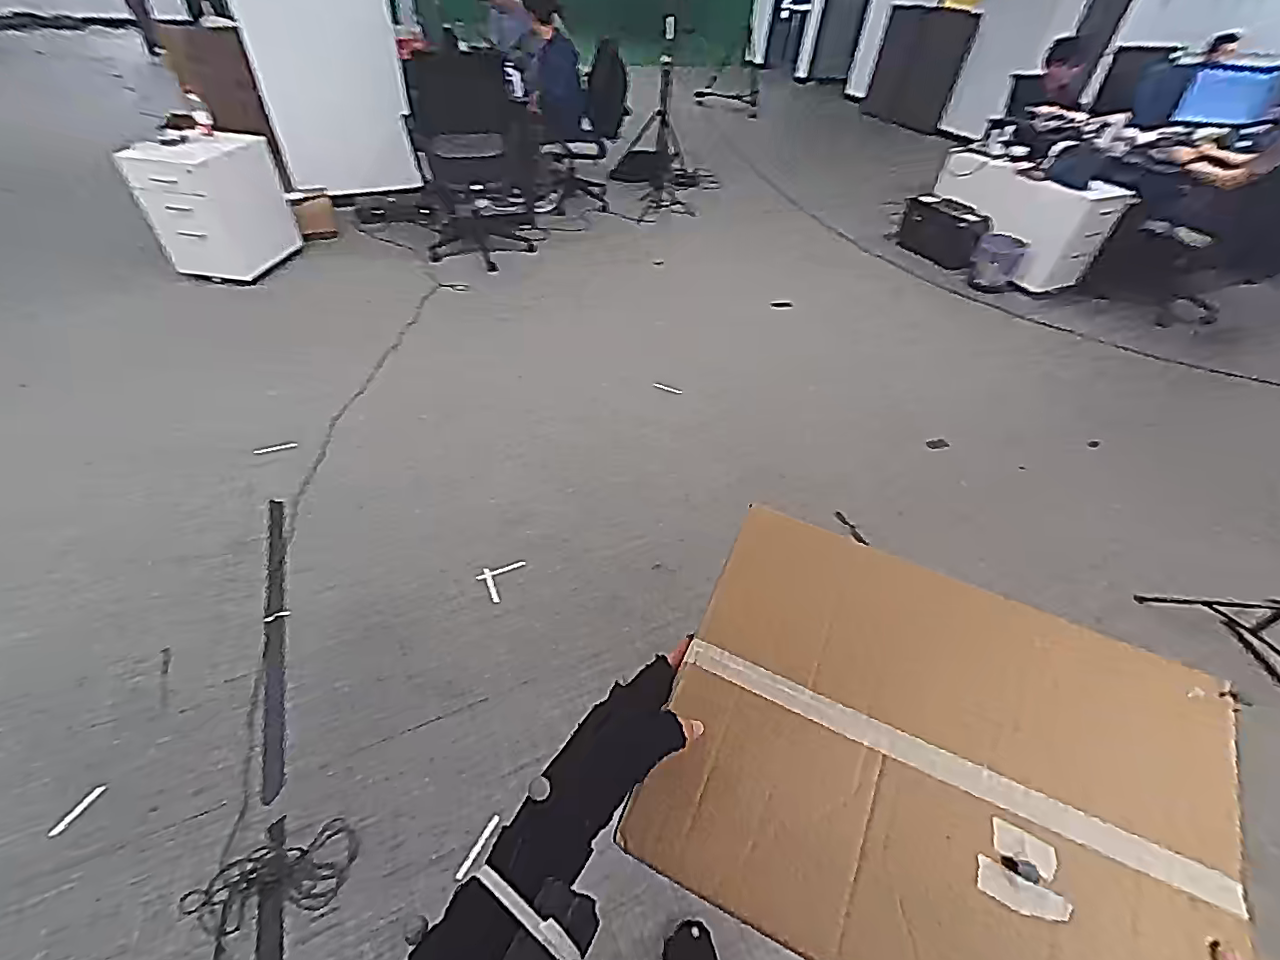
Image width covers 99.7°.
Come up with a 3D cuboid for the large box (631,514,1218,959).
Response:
[{"bbox_3d":[0.236,0.292,0.565,0.408,0.320,0.320,21,65,14],"label":"large box"}]
